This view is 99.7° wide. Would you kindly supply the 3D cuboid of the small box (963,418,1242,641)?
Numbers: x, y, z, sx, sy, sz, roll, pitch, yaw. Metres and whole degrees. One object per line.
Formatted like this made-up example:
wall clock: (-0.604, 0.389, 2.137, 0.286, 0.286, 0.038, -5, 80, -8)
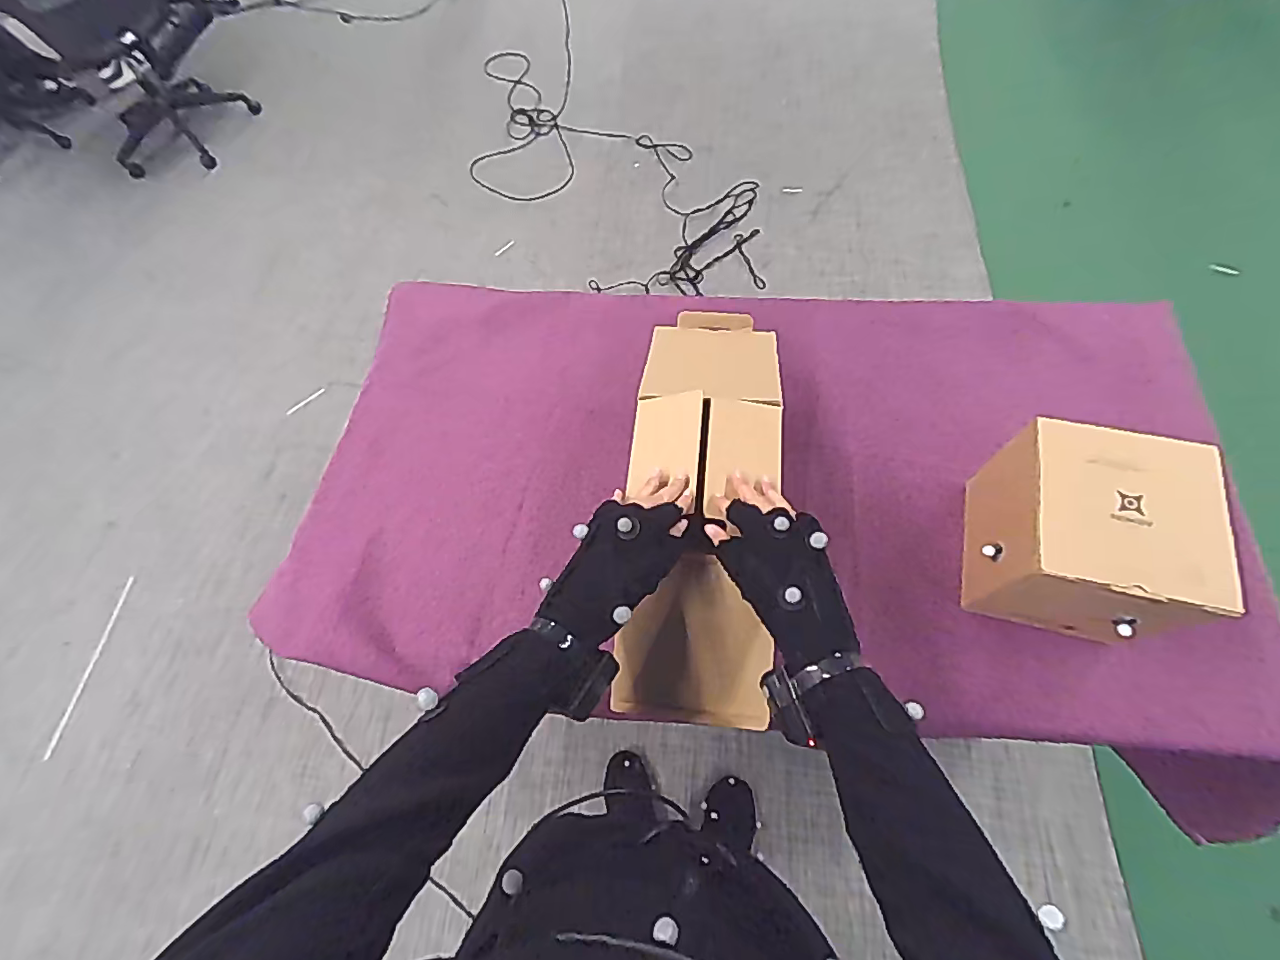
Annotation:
small box: (0.477, 0.062, 0.589, 0.168, 0.176, 0.179, 13, 66, 12)
